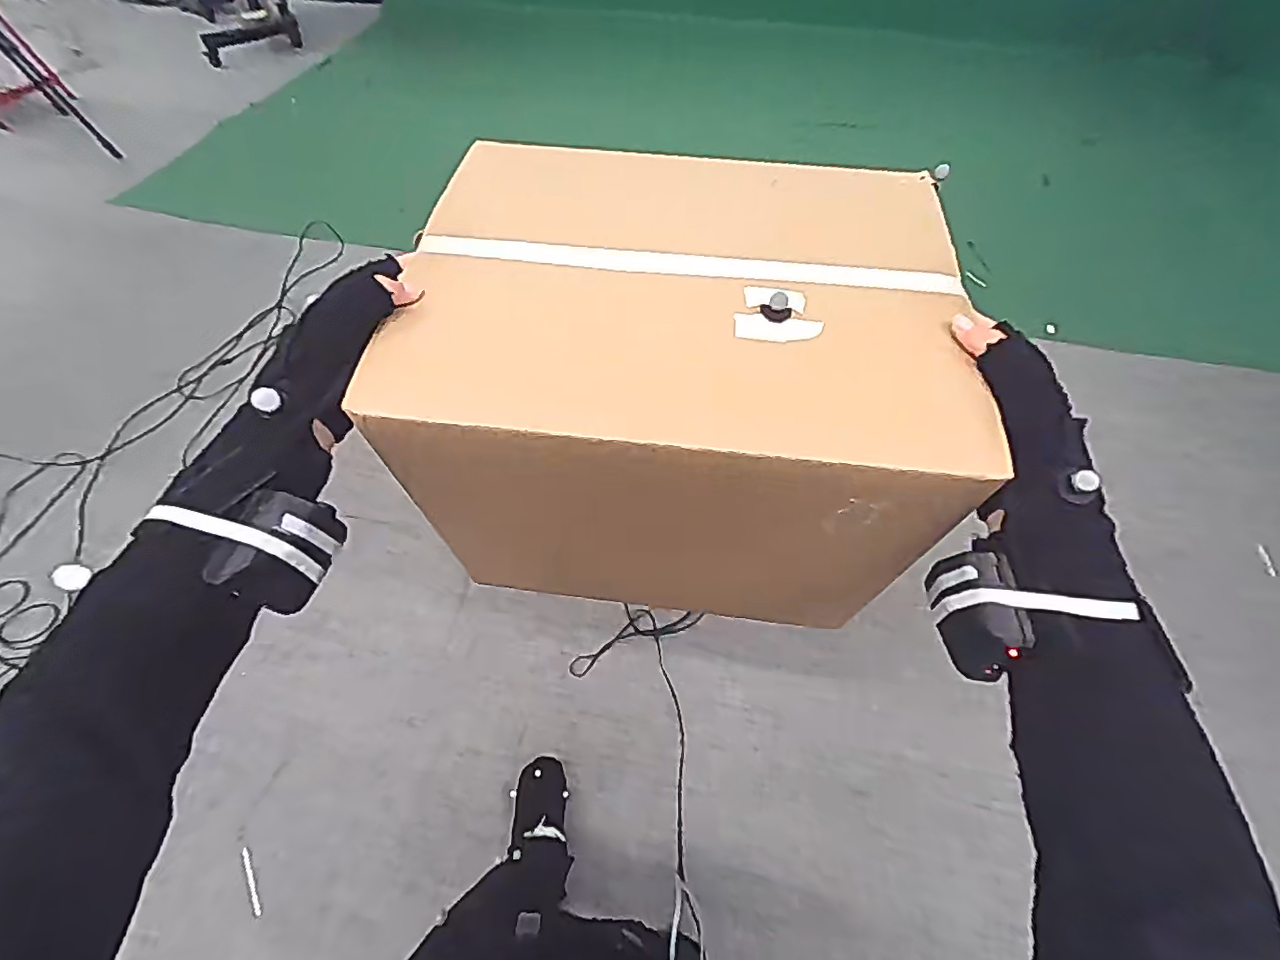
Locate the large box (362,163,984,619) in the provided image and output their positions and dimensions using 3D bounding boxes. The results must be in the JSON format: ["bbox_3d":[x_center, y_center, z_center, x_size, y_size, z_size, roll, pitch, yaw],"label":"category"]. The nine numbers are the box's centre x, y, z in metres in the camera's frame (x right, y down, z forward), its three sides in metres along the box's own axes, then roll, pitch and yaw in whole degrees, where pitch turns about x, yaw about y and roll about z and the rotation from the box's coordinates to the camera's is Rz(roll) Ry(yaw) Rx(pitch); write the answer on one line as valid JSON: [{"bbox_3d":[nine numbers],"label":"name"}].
[{"bbox_3d":[0.028,-0.071,0.542,0.408,0.320,0.320,6,60,3],"label":"large box"}]
